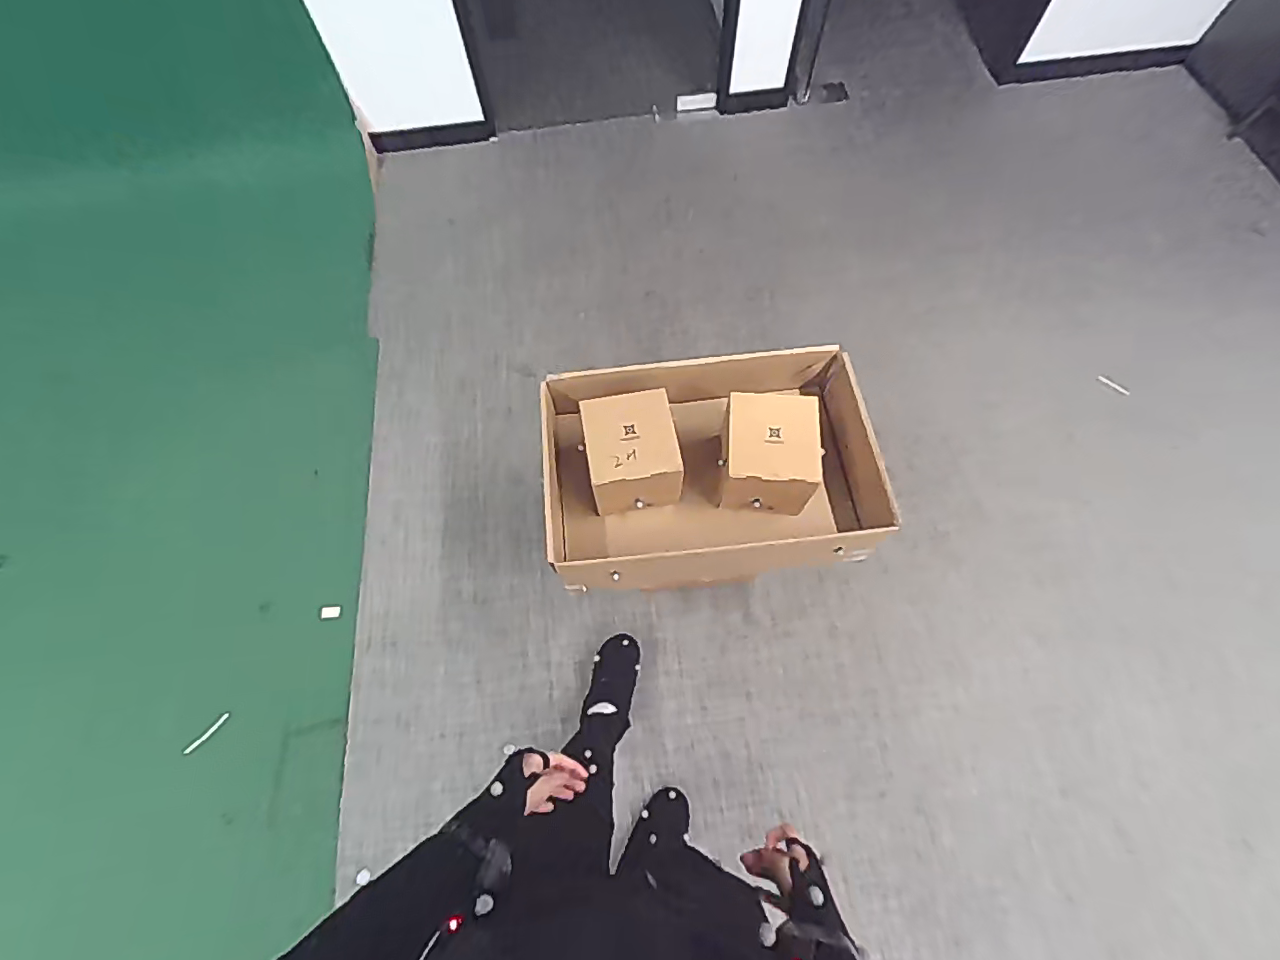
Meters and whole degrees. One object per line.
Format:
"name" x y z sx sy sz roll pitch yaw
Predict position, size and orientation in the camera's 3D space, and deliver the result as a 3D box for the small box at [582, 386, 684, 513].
"small box" -0.015 -0.055 1.044 0.168 0.176 0.179 -9 67 -3
